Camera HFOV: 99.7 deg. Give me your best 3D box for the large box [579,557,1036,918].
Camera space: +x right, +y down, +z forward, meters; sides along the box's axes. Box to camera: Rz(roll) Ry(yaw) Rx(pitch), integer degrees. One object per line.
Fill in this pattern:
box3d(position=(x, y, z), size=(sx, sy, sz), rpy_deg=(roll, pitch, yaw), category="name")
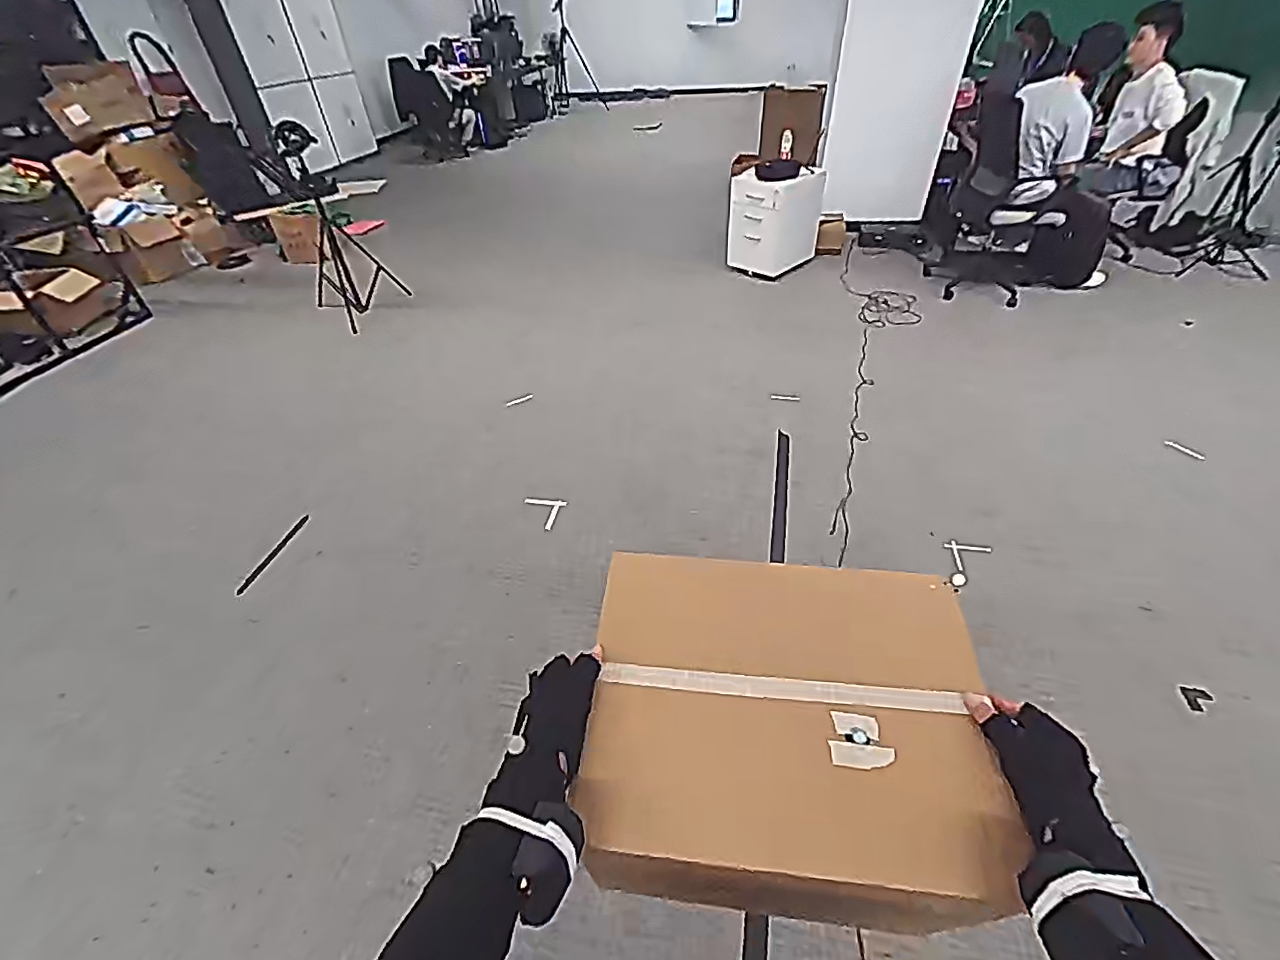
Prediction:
box3d(position=(0.159, 0.320, 0.681), size=(0.408, 0.320, 0.320), rpy_deg=(3, 48, 6), category="large box")
